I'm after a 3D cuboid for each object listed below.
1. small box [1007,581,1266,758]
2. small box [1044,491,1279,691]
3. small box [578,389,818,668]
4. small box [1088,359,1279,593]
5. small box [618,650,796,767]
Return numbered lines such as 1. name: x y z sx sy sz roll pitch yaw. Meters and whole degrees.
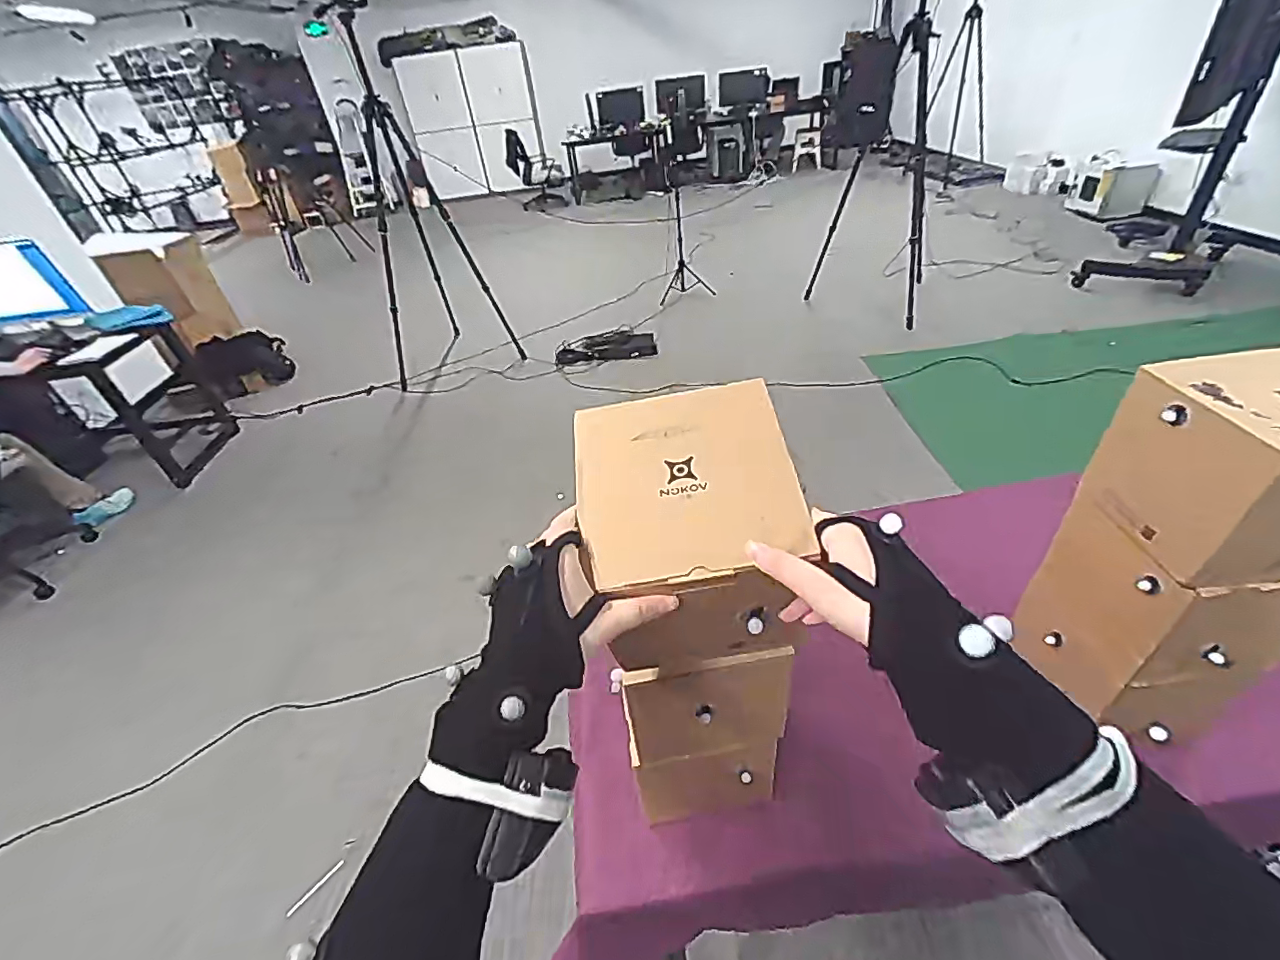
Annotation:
1. small box: 0.652 0.251 0.744 0.168 0.176 0.179 -8 38 2
2. small box: 0.636 0.122 0.645 0.168 0.176 0.179 -7 38 1
3. small box: 0.046 0.051 0.473 0.168 0.176 0.179 -9 51 4
4. small box: 0.616 -0.005 0.543 0.179 0.176 0.168 -5 38 2
5. small box: 0.066 0.208 0.637 0.179 0.176 0.168 -10 38 -3
